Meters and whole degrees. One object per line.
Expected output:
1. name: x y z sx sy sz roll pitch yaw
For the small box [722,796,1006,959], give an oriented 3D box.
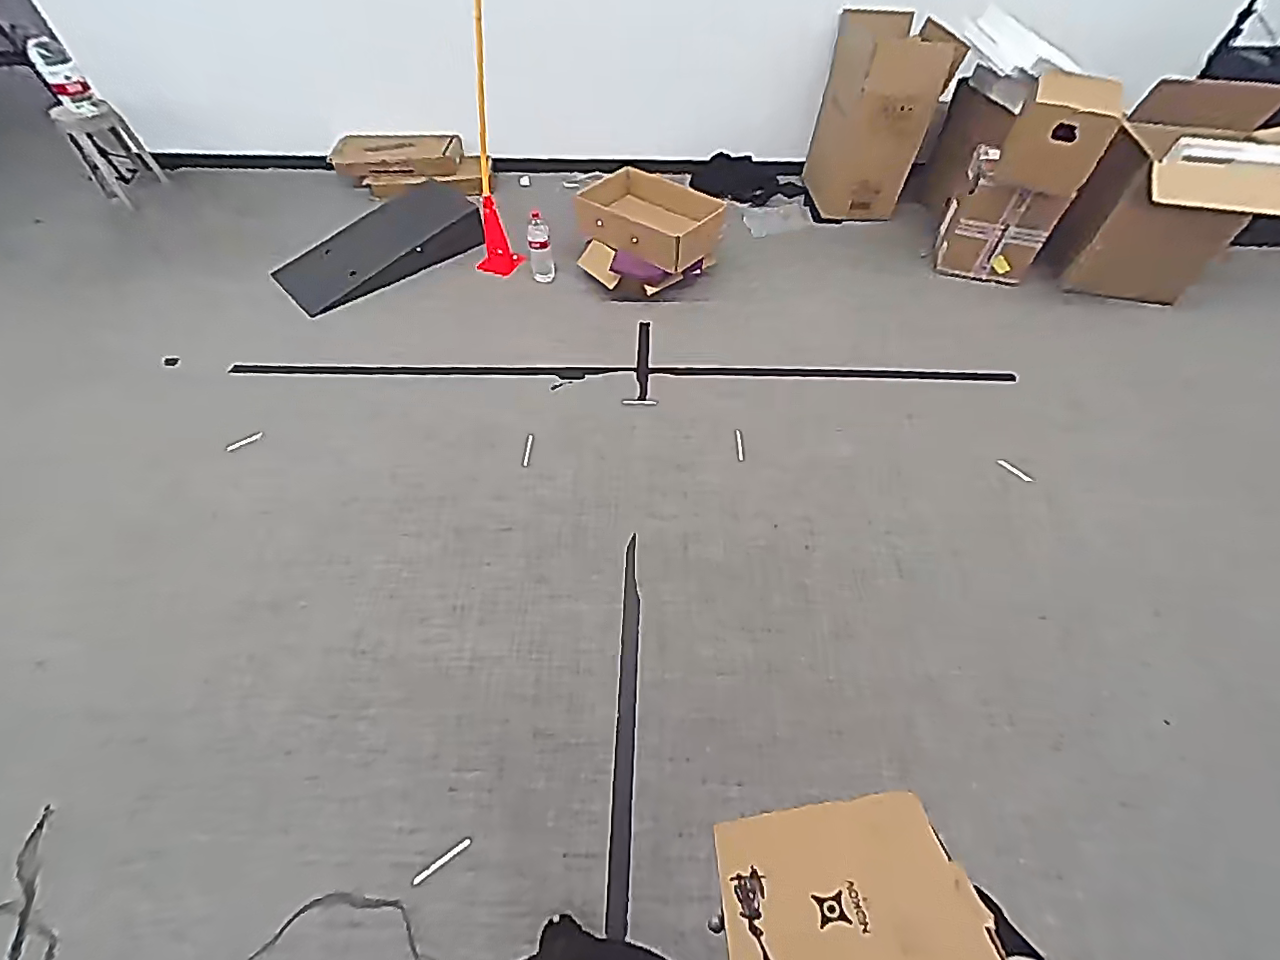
1. small box: 0.172 0.389 0.420 0.179 0.176 0.168 -13 17 5
